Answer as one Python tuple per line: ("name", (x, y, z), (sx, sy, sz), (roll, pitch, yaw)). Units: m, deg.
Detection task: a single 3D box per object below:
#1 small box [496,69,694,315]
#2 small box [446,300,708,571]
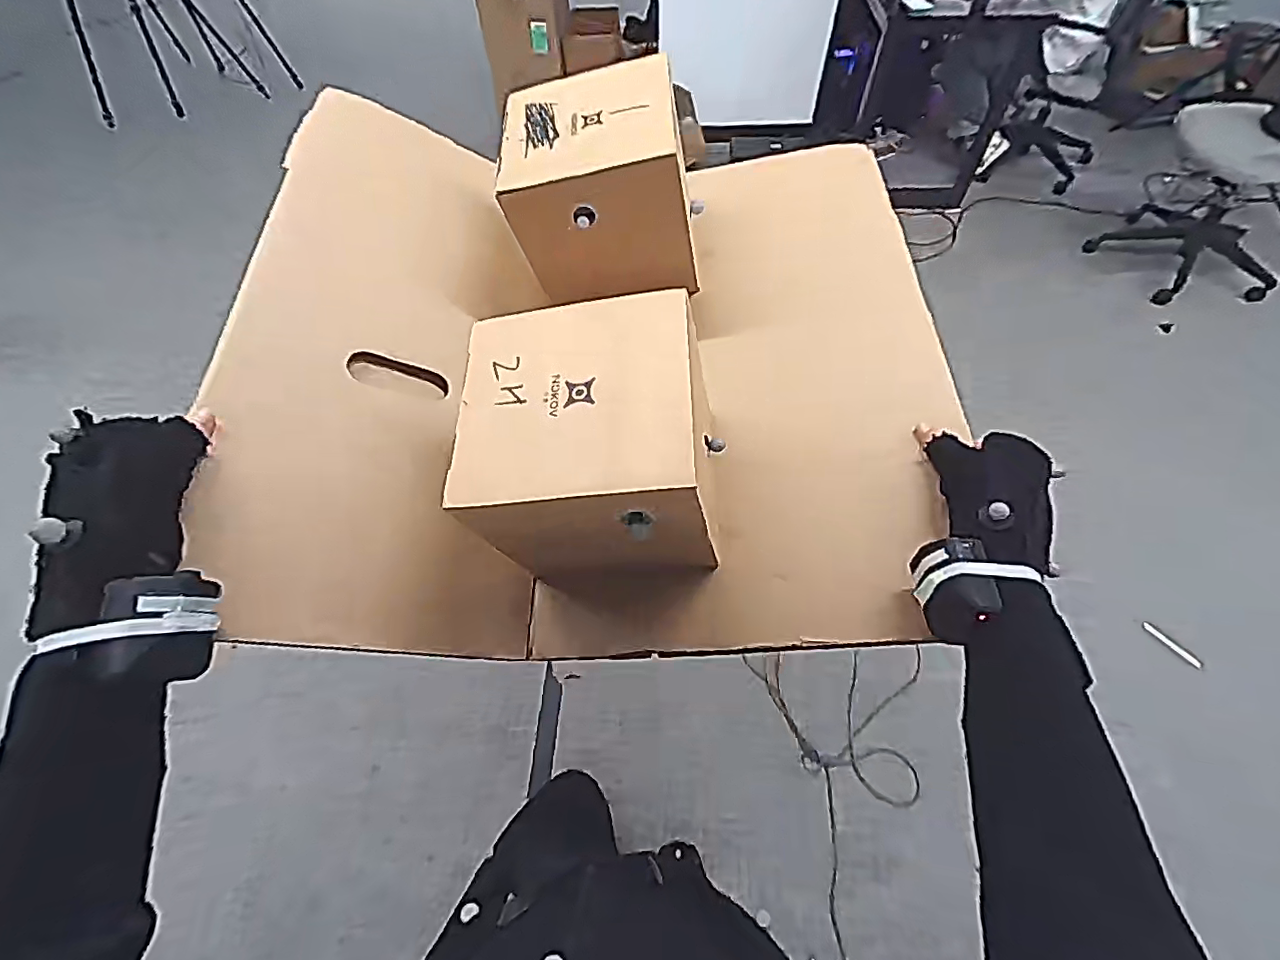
("small box", (-0.040, -0.310, 0.611), (0.179, 0.176, 0.168), (-7, 63, 10))
("small box", (-0.035, -0.024, 0.468), (0.179, 0.176, 0.168), (-5, 63, 12))
